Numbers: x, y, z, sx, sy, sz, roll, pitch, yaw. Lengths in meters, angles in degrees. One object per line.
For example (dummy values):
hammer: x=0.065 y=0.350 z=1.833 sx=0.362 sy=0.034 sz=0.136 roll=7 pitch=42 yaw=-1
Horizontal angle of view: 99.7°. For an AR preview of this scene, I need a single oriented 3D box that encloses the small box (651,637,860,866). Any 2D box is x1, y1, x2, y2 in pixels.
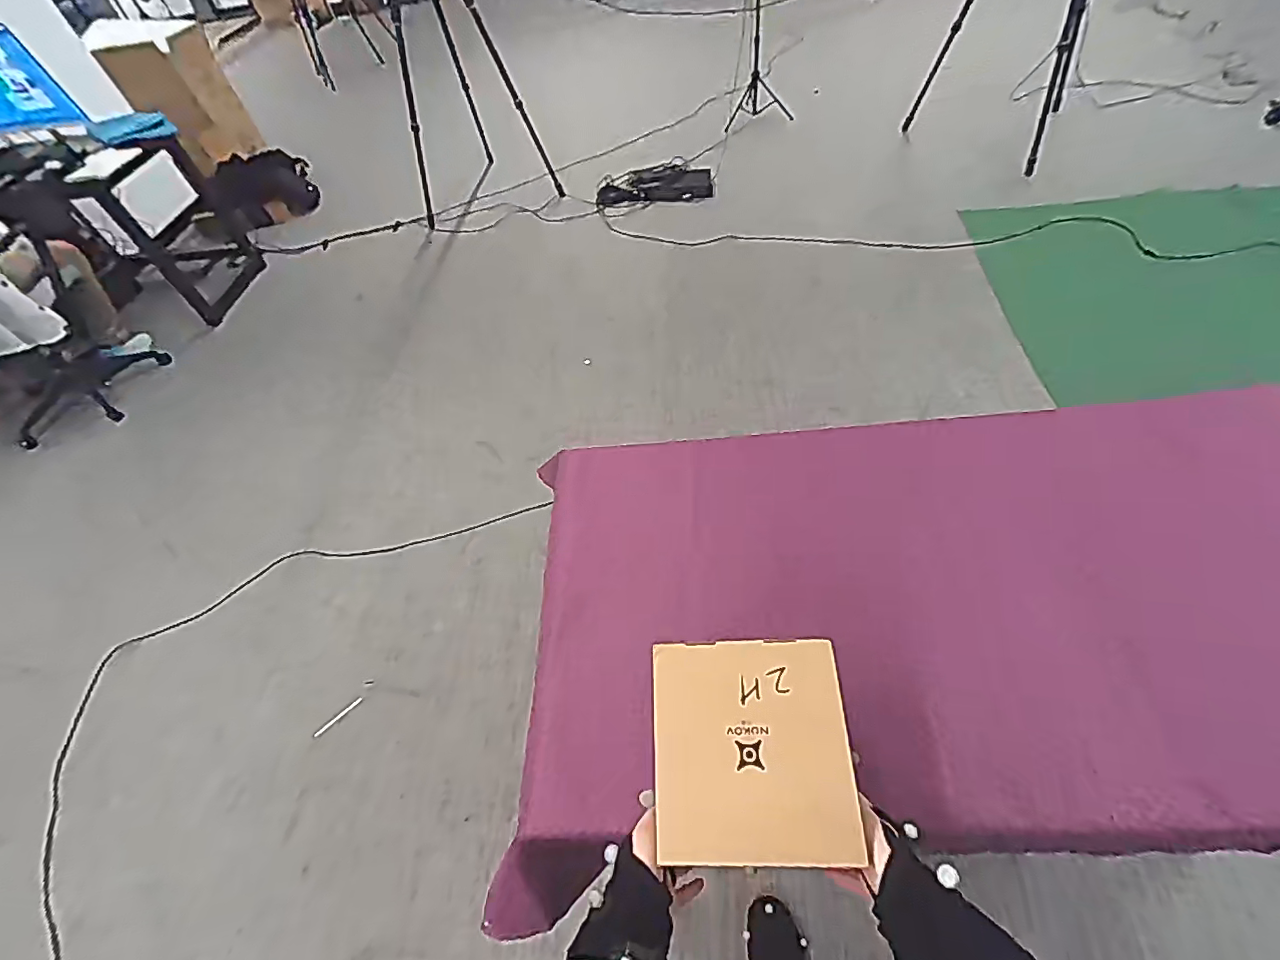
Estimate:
small box: x=0.103 y=0.264 z=0.535 sx=0.168 sy=0.176 sz=0.179 roll=-4 pitch=59 yaw=7
